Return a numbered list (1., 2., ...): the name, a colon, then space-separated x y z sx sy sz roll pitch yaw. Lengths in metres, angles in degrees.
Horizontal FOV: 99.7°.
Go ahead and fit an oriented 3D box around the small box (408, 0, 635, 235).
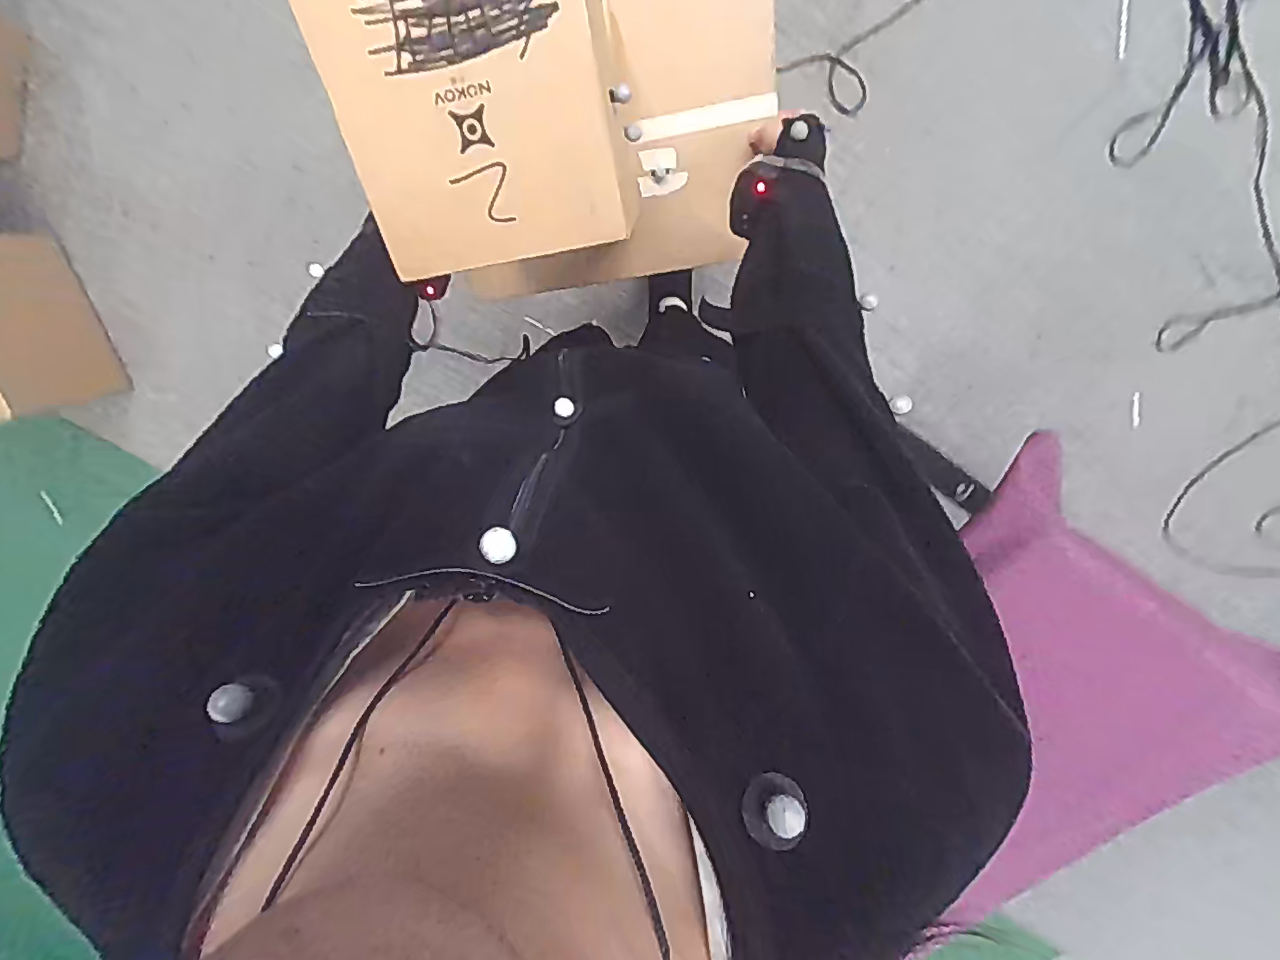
1. small box: -0.095 -0.351 0.533 0.168 0.176 0.179 -4 120 5
